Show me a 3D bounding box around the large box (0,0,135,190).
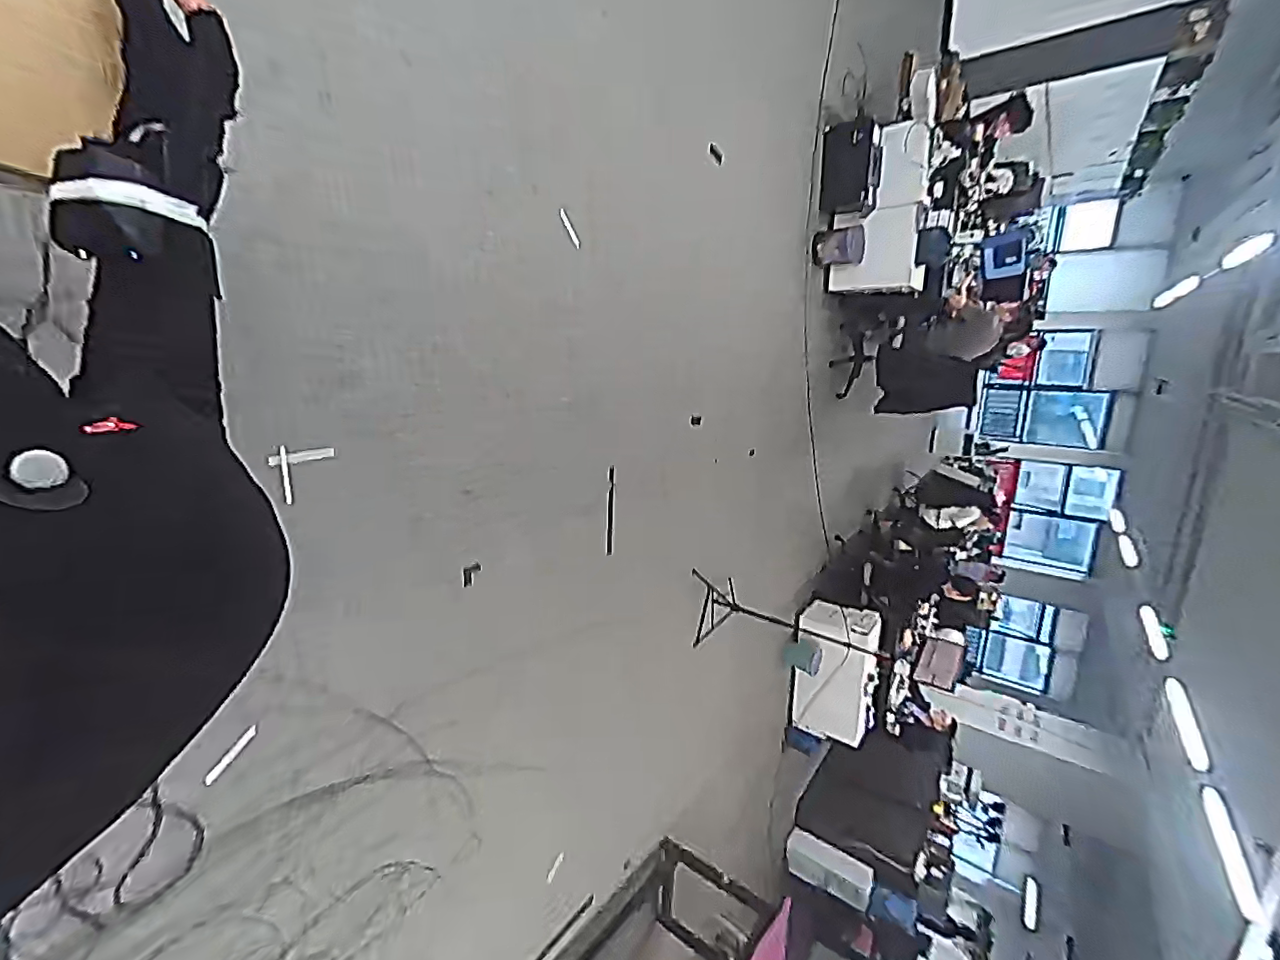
[{"bbox_3d":[-0.604,-0.410,0.310,0.408,0.320,0.320,-2,110,-58],"label":"large box"}]
